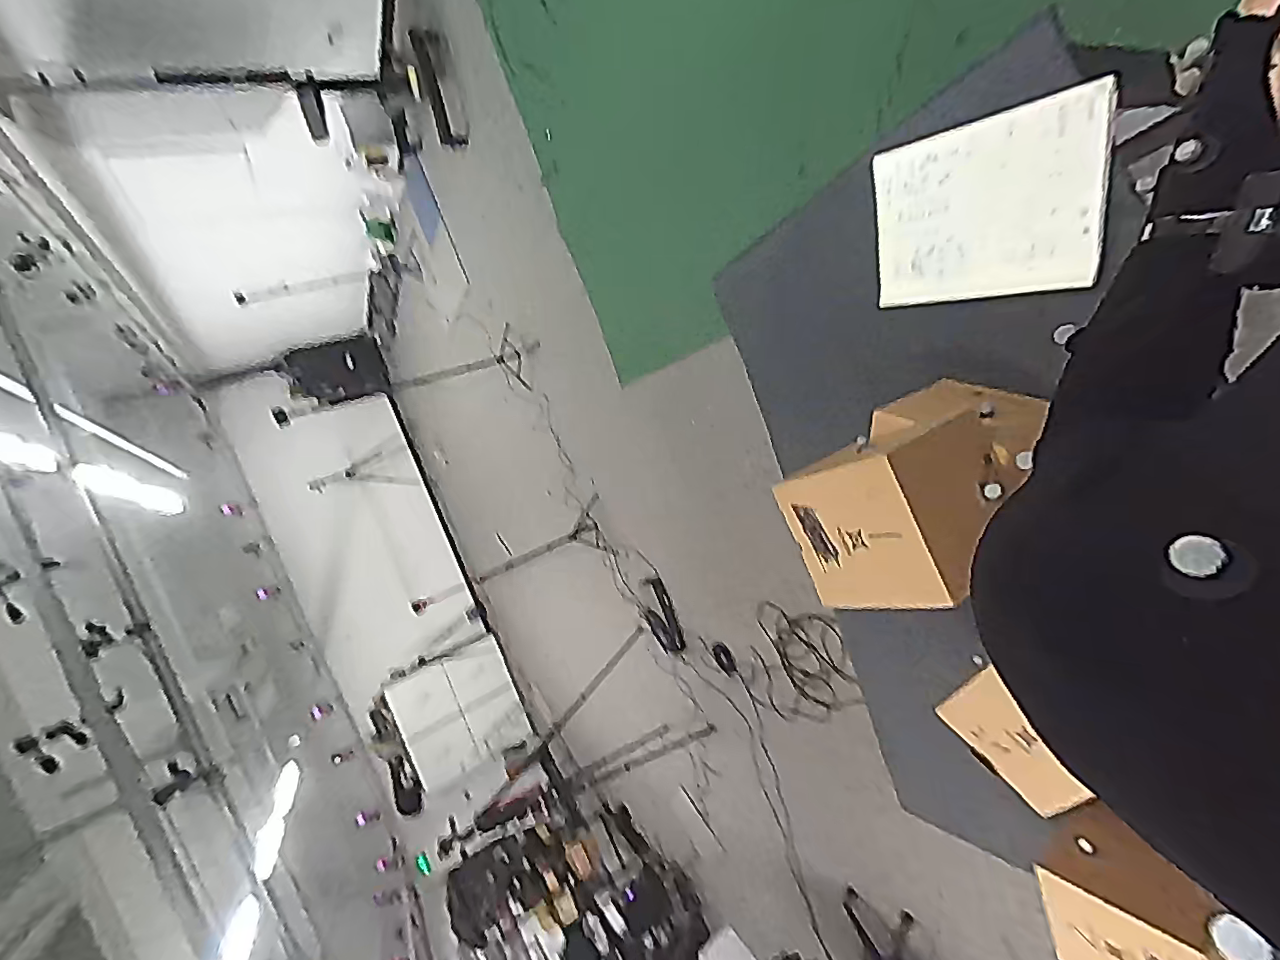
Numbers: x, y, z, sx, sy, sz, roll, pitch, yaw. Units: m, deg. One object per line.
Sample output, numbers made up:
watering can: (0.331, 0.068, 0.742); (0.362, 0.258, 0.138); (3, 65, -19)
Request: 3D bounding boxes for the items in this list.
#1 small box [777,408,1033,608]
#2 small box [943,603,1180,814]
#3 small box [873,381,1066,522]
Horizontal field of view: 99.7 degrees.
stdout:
small box: (0.302, 0.036, 0.628); (0.179, 0.176, 0.168); (-26, 89, 61)
small box: (0.561, 0.298, 0.726); (0.168, 0.176, 0.179); (47, 146, 33)
small box: (0.427, -0.019, 0.720); (0.168, 0.176, 0.179); (30, 136, 48)
